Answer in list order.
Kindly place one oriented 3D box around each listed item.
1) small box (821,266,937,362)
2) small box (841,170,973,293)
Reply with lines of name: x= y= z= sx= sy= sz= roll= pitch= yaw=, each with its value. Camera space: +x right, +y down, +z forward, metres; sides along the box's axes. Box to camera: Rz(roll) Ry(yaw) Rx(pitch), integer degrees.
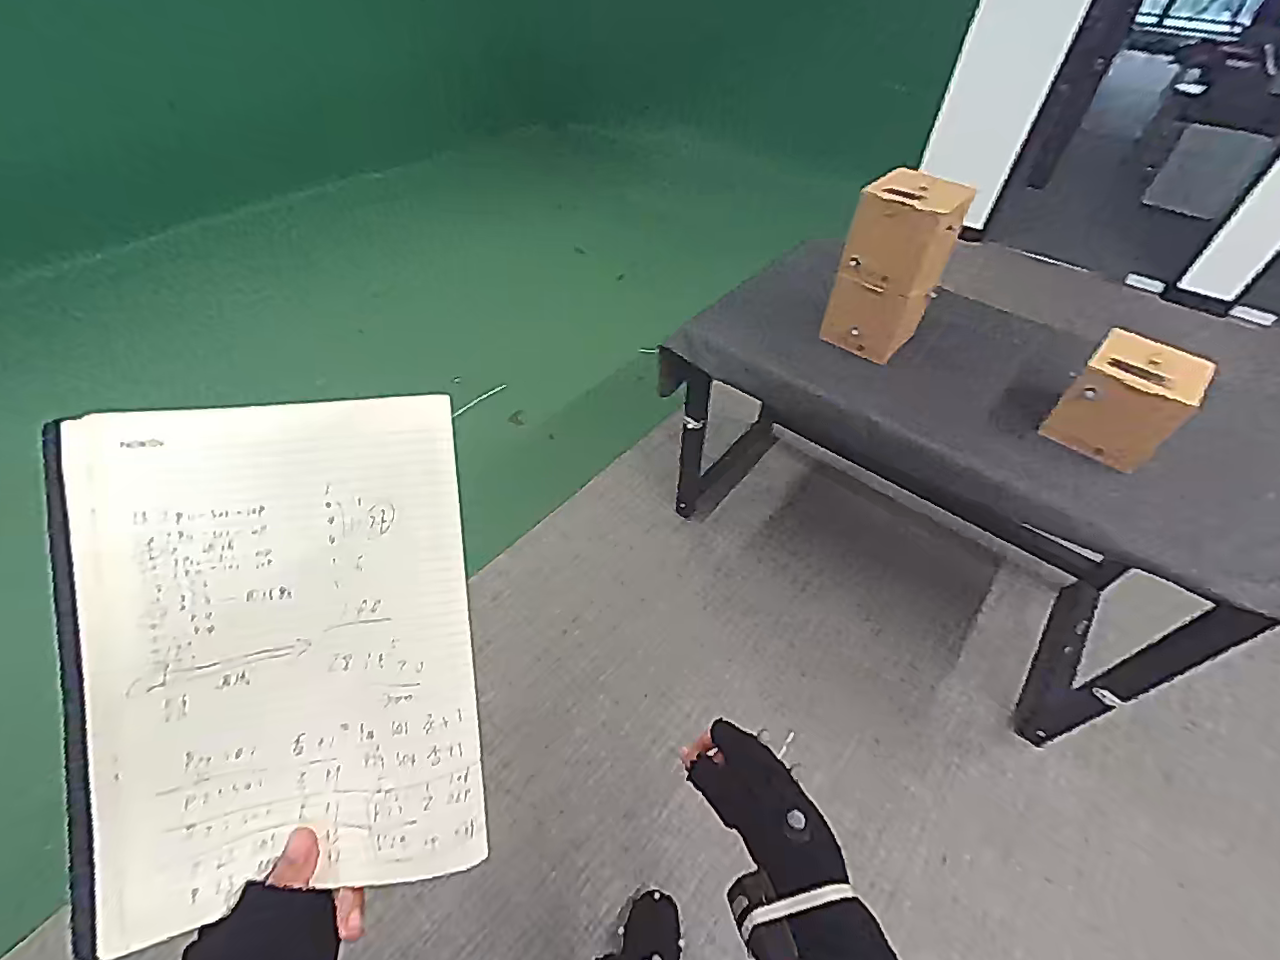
small box: x=0.540 y=-0.403 z=1.244 sx=0.168 sy=0.176 sz=0.179 roll=33 pitch=56 yaw=25
small box: x=0.543 y=-0.514 z=1.124 sx=0.168 sy=0.176 sz=0.179 roll=35 pitch=56 yaw=26
